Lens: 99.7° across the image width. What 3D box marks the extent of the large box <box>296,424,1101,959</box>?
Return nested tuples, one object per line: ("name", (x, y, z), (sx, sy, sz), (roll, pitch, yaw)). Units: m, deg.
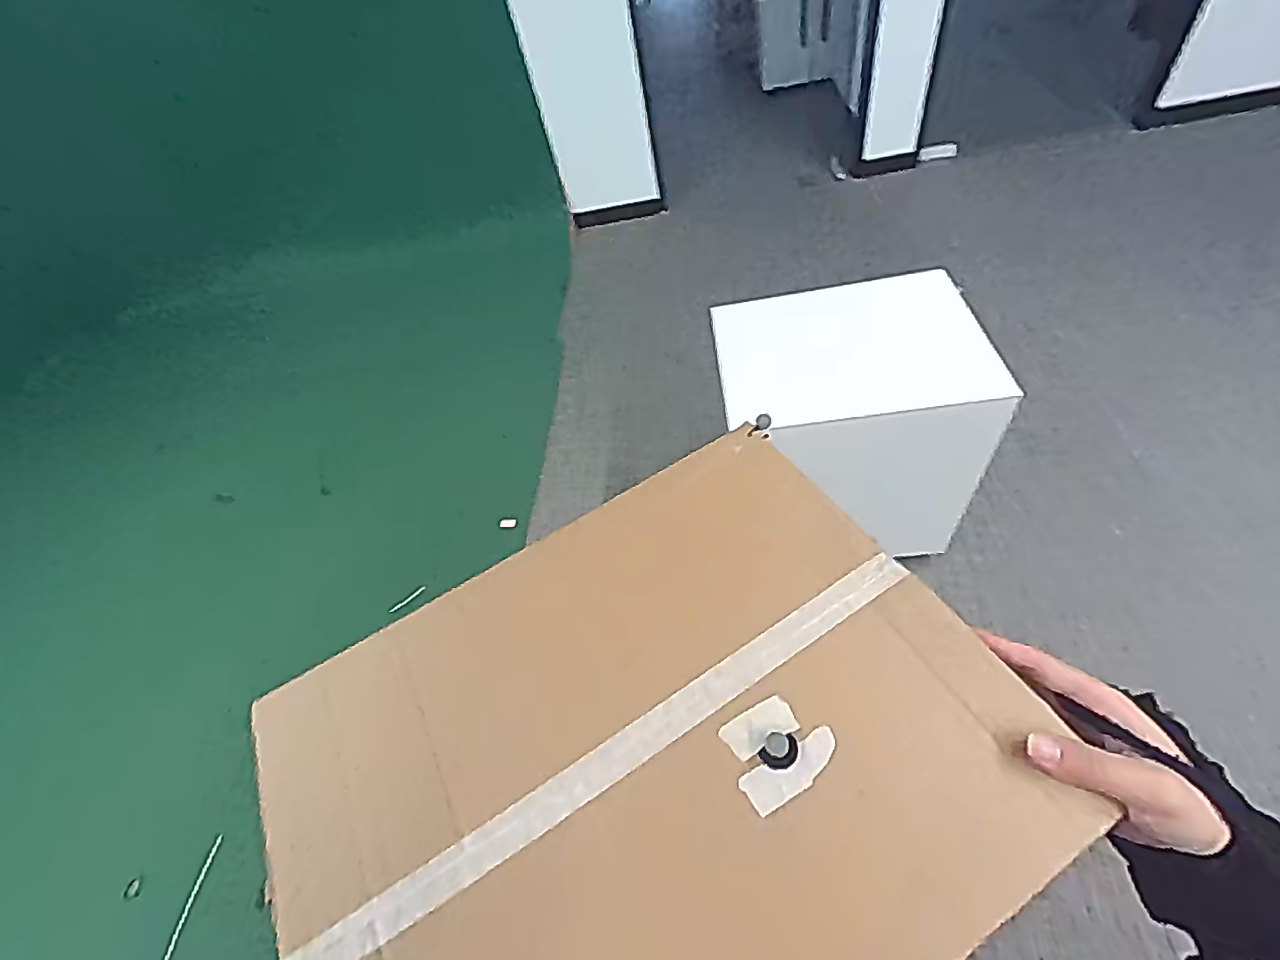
("large box", (0.023, 0.232, 0.449), (0.408, 0.320, 0.320), (-29, 57, -12))
